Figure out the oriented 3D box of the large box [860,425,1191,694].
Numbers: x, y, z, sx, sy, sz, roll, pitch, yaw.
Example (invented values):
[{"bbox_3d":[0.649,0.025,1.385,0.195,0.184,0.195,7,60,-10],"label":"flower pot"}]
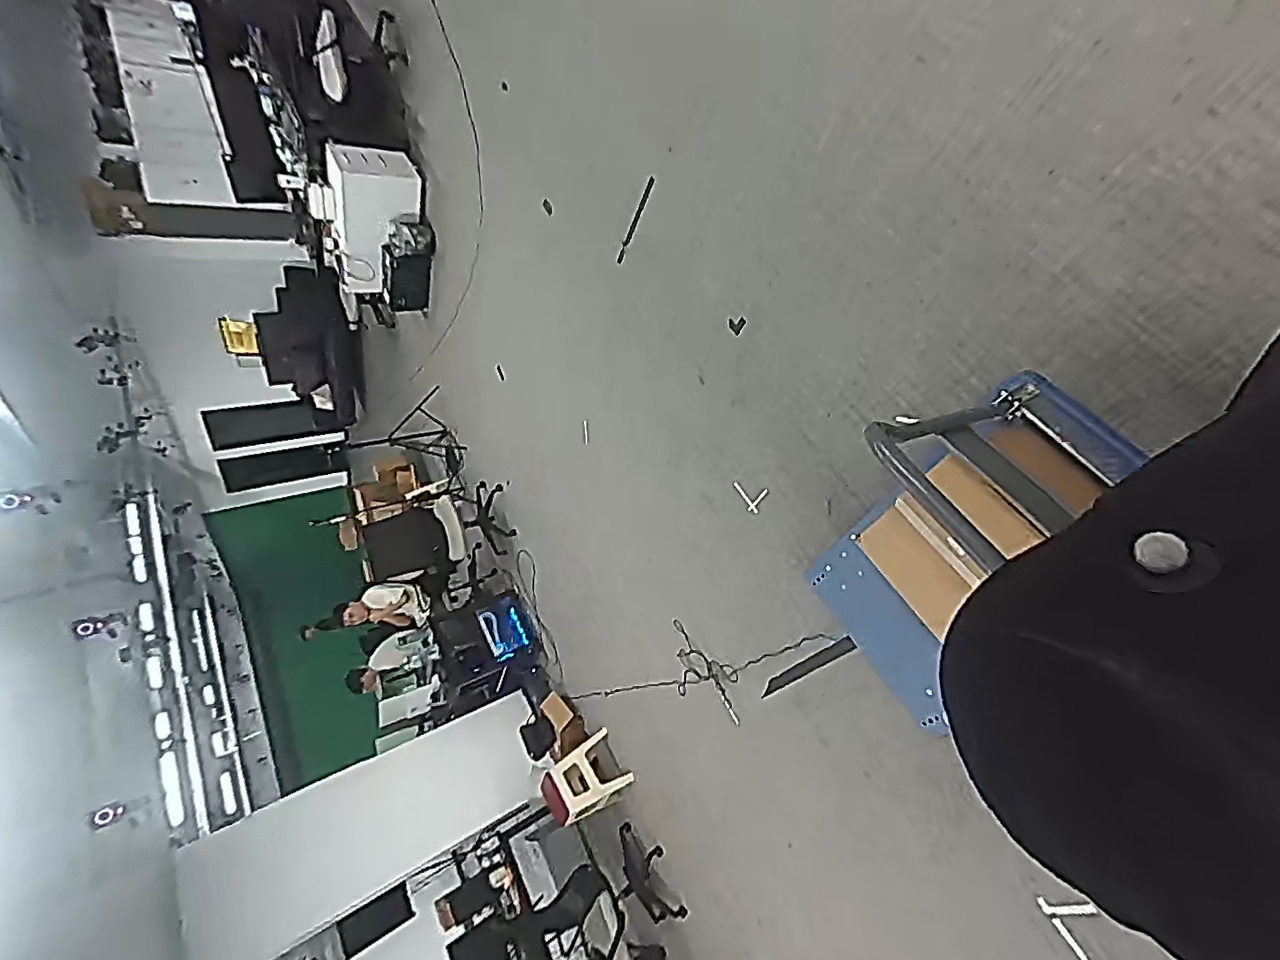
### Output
[{"bbox_3d":[0.766,0.149,1.116,0.408,0.320,0.320,57,141,26],"label":"large box"}]
